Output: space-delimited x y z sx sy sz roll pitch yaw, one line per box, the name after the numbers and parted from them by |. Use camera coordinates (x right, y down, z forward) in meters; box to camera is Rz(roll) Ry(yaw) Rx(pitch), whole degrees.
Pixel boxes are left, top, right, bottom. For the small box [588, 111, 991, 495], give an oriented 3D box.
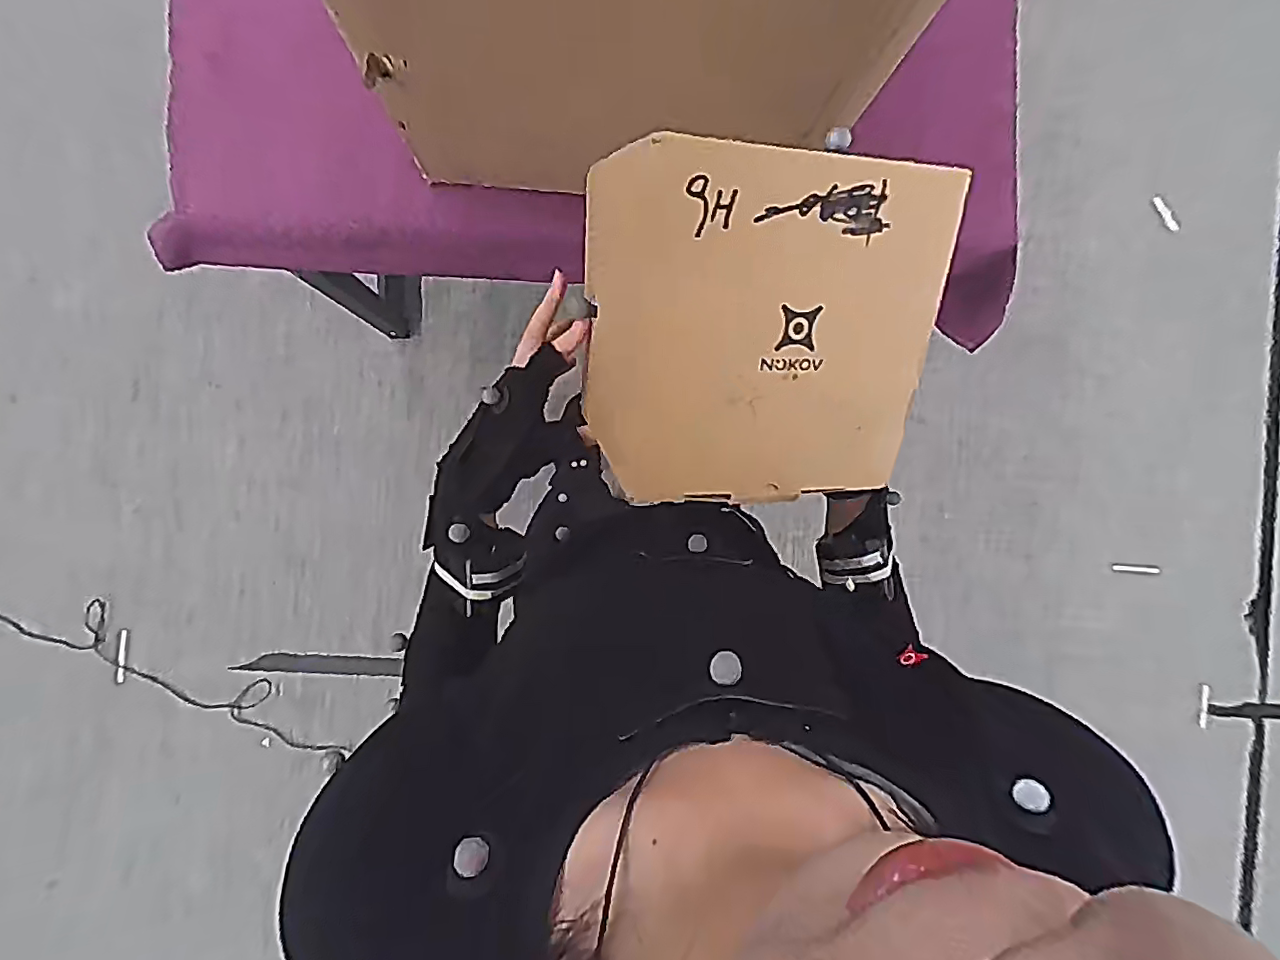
0.063 -0.107 0.341 0.168 0.176 0.179 -3 116 -15 | small box
